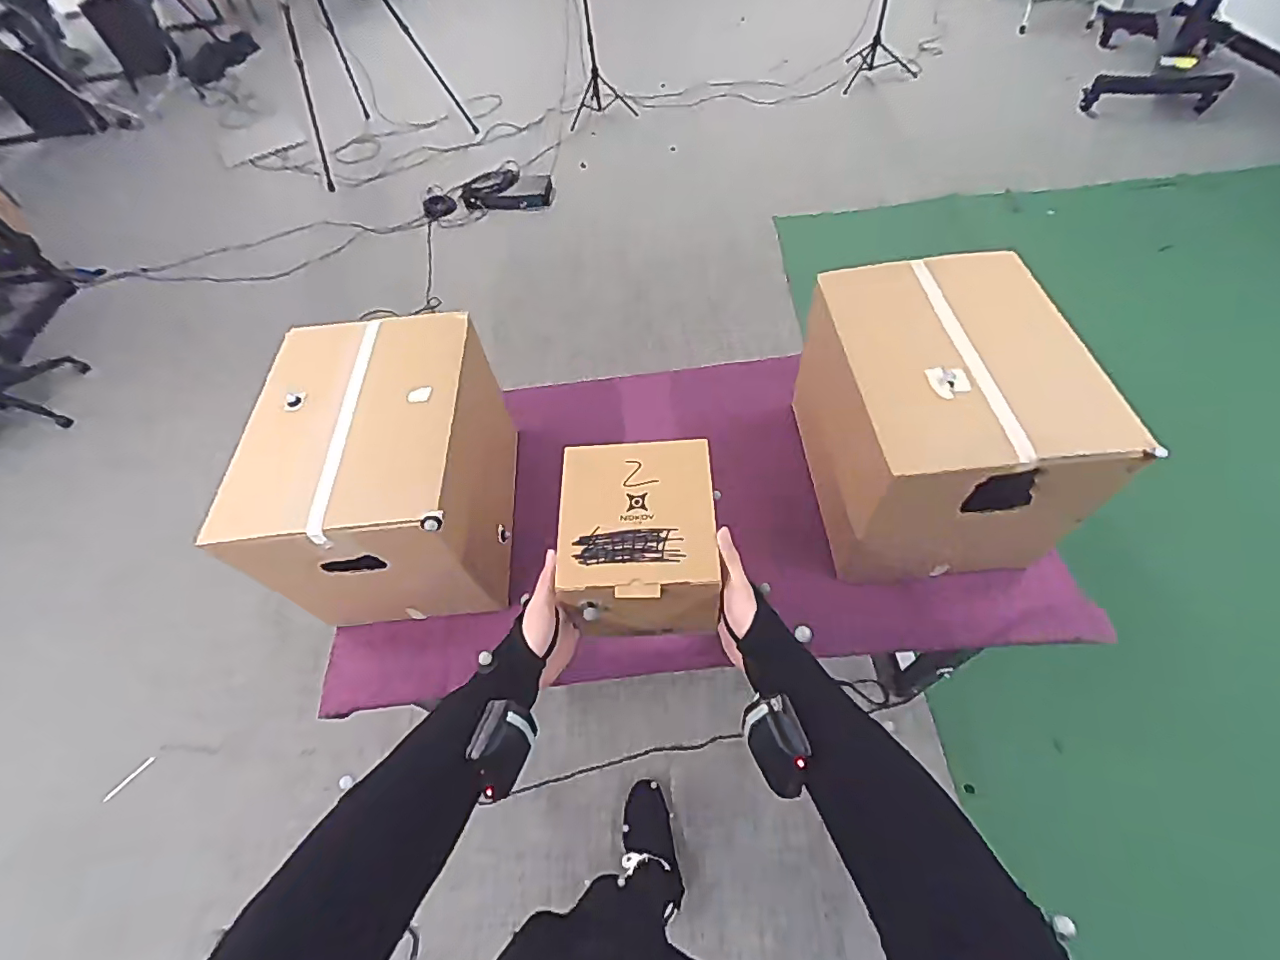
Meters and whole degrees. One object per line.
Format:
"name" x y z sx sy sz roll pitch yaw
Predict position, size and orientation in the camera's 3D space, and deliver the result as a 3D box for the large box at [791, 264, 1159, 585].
"large box" 0.459 -0.084 0.873 0.320 0.320 0.408 -6 56 3
